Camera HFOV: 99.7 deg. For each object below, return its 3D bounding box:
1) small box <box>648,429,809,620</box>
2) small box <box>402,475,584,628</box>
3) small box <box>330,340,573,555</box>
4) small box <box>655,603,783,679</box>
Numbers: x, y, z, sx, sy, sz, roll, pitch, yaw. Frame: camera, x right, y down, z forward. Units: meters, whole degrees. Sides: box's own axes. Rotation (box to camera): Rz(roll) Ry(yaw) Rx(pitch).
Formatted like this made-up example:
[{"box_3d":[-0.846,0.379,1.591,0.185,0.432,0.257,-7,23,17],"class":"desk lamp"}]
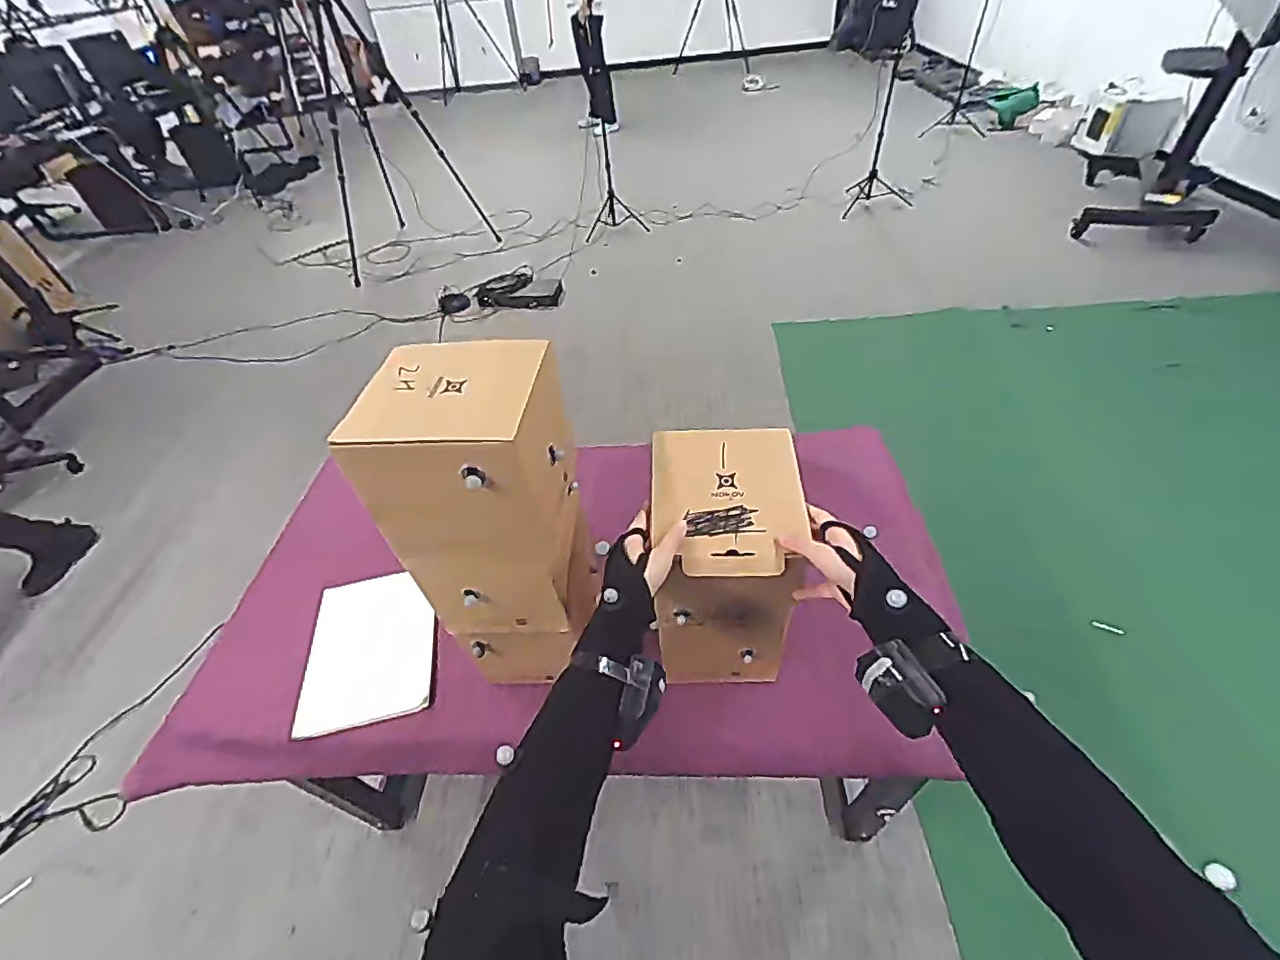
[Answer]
[{"box_3d":[0.098,0.059,0.659,0.168,0.176,0.179,-1,51,4],"class":"small box"},{"box_3d":[-0.171,0.078,0.702,0.168,0.176,0.179,-2,44,5],"class":"small box"},{"box_3d":[-0.177,-0.033,0.580,0.179,0.176,0.168,0,44,7],"class":"small box"},{"box_3d":[0.111,0.179,0.801,0.168,0.176,0.179,-1,44,4],"class":"small box"}]
